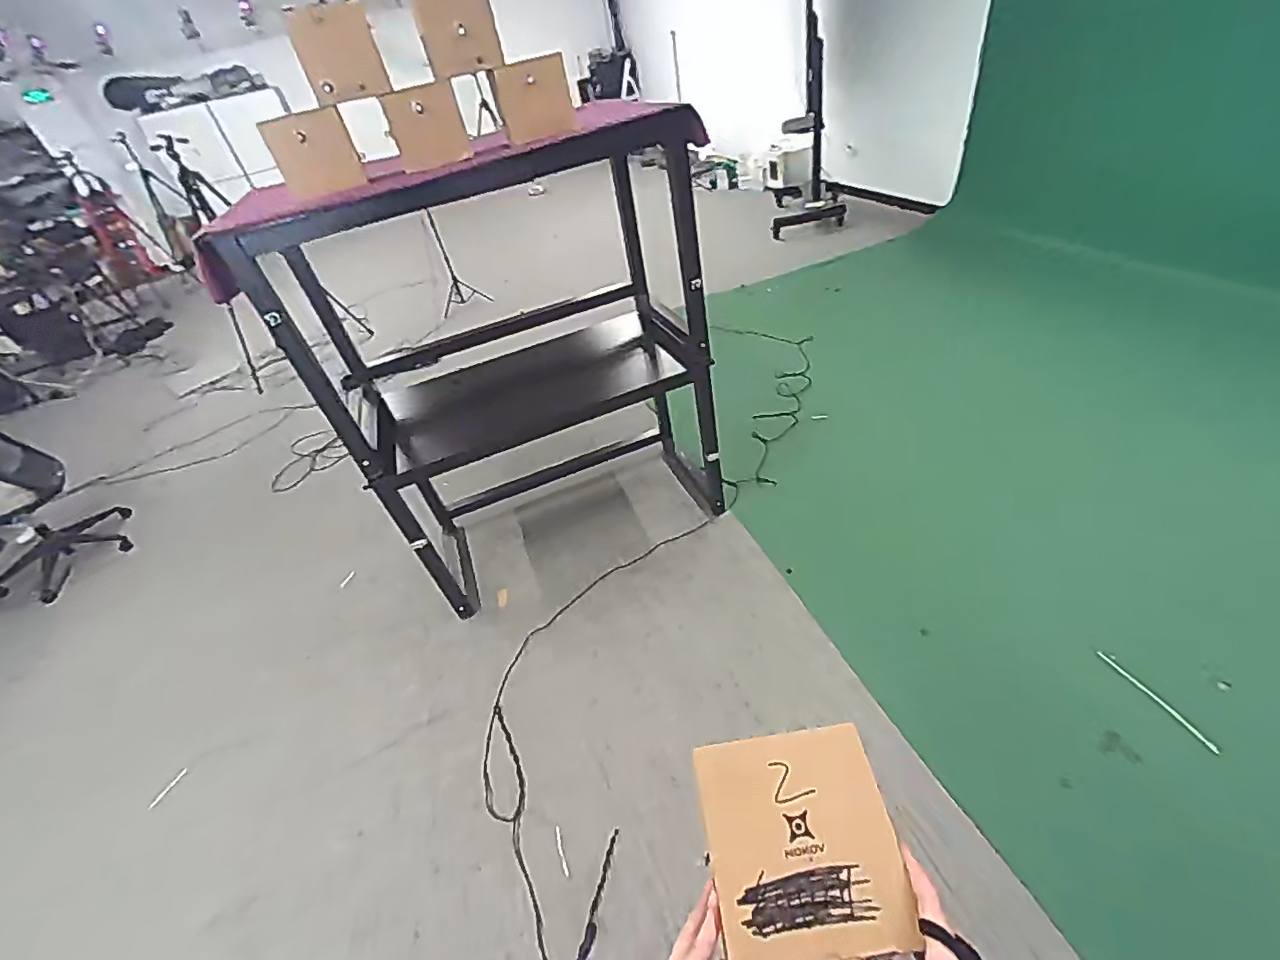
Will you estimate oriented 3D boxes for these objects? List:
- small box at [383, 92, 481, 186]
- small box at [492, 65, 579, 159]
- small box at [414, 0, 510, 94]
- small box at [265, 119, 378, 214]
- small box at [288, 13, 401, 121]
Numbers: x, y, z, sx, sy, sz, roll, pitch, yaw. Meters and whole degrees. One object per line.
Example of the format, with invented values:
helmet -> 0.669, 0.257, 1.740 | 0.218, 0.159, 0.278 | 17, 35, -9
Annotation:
small box -> -0.524, -0.863, 1.370 | 0.179, 0.176, 0.168 | -21, 39, -10
small box -> -0.270, -0.965, 1.419 | 0.179, 0.176, 0.168 | -22, 39, -8
small box -> -0.427, -1.045, 1.301 | 0.168, 0.176, 0.179 | -21, 39, -10
small box -> -0.775, -0.773, 1.332 | 0.179, 0.176, 0.168 | -22, 40, -11
small box -> -0.674, -0.951, 1.257 | 0.168, 0.176, 0.179 | -20, 38, -9
